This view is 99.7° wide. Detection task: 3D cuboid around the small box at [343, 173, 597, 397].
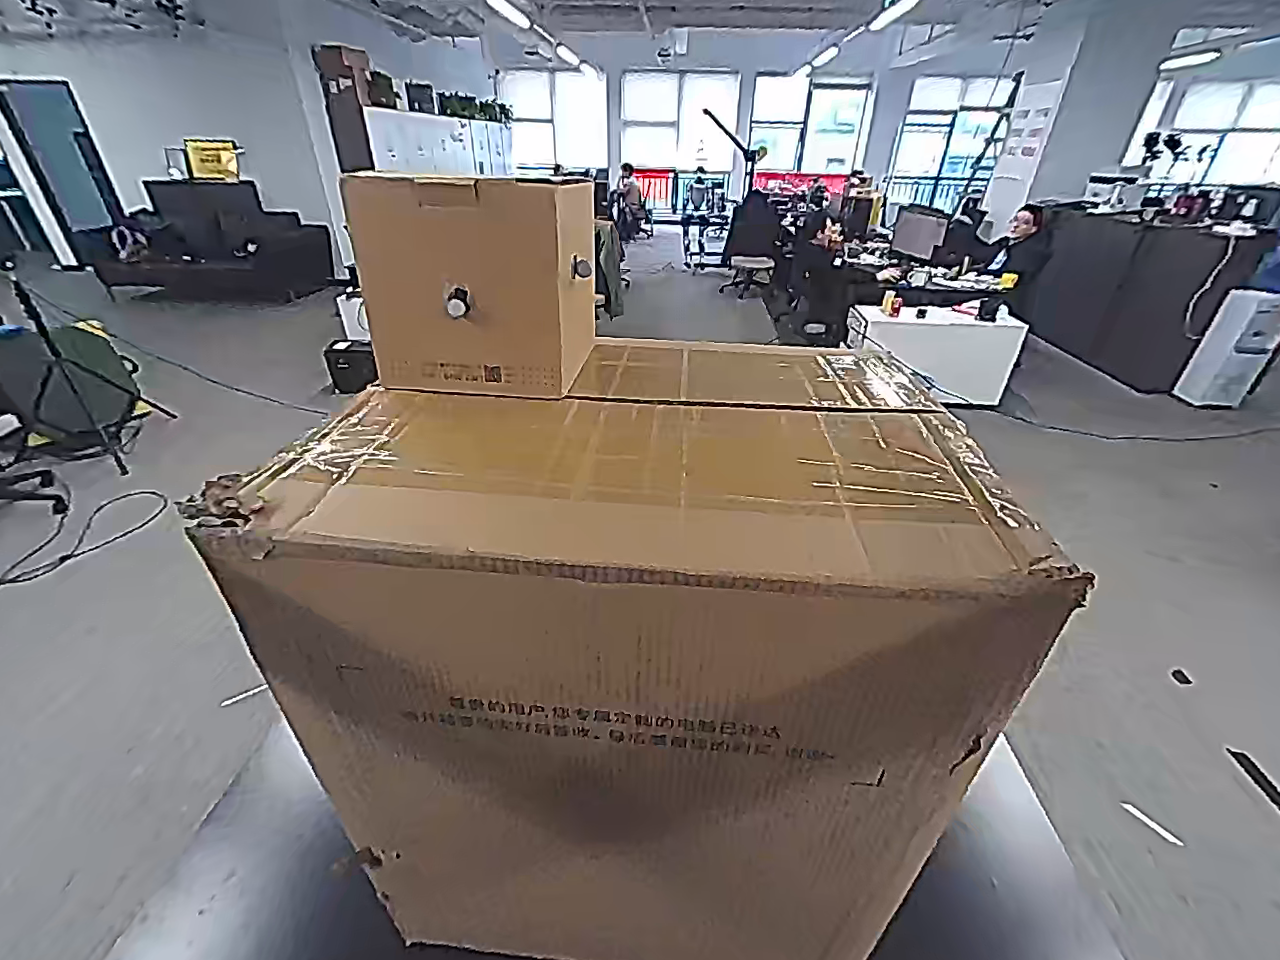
[{"bbox_3d":[-0.132,-0.185,0.503,0.168,0.176,0.179,4,31,3],"label":"small box"}]
